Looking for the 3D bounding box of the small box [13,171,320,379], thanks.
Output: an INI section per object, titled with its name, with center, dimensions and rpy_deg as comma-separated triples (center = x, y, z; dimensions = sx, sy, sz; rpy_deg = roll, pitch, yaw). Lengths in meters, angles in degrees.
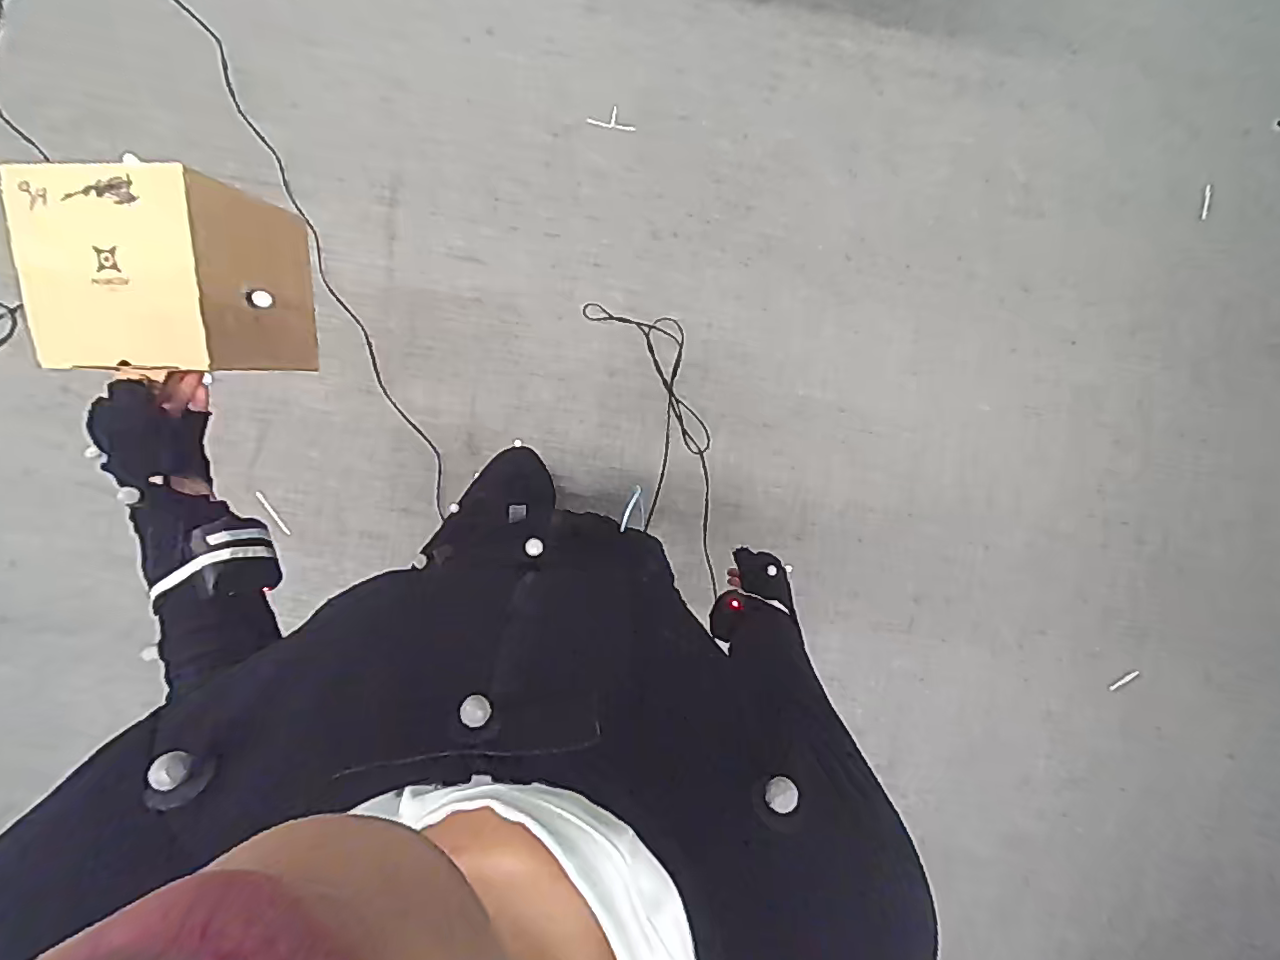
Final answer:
[small box]
center = -0.466, -0.201, 0.567
dimensions = 0.168, 0.176, 0.179
rpy_deg = 2, 103, 1
